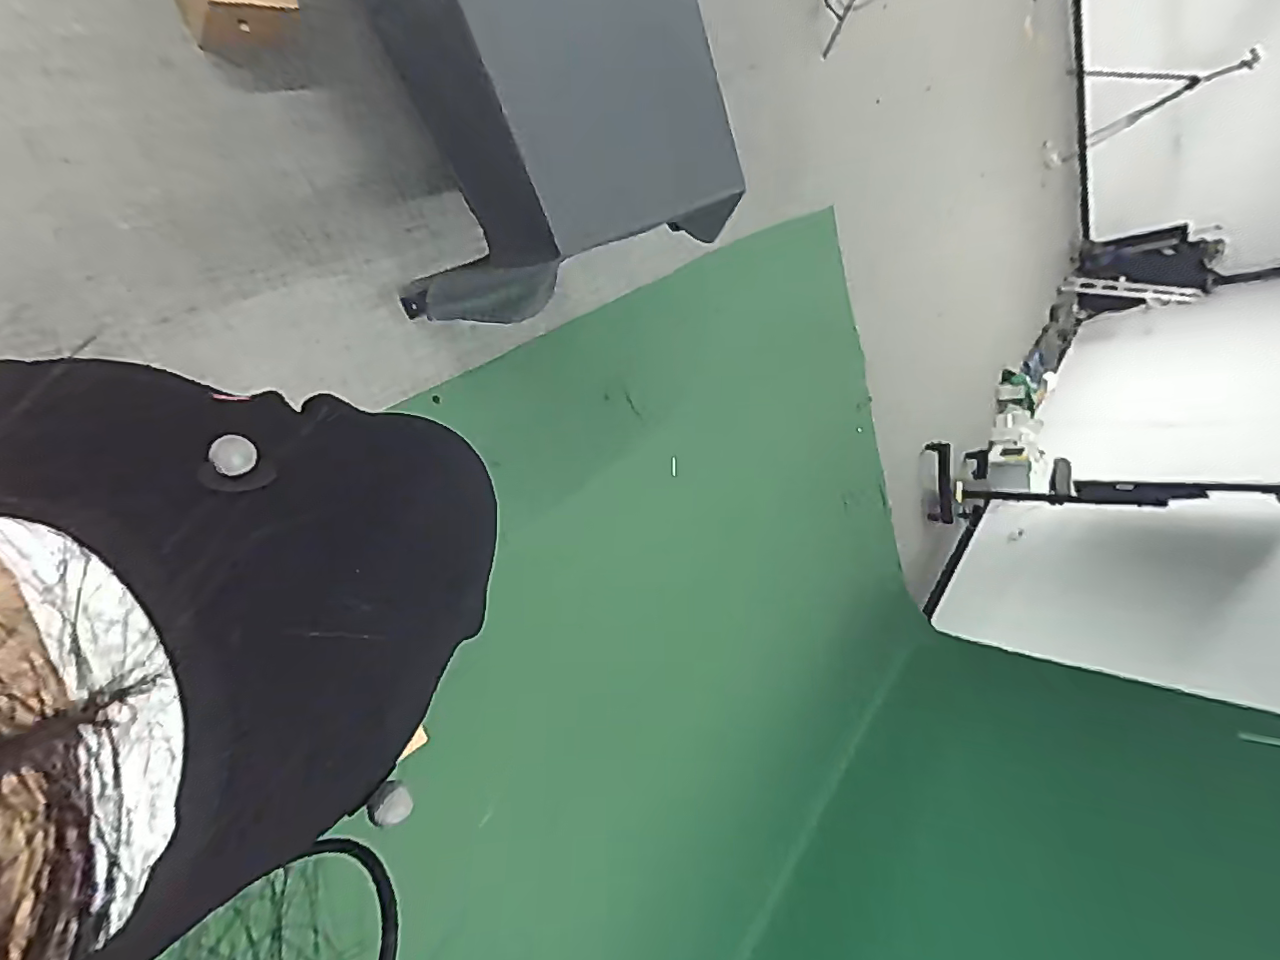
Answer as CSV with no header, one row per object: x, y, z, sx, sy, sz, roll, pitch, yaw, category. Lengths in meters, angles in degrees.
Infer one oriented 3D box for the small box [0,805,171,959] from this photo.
-1.047,0.766,1.030,0.168,0.176,0.179,-44,121,-33,small box

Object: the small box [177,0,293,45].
-0.852,-1.029,1.104,0.179,0.176,0.168,-34,114,-37,small box
